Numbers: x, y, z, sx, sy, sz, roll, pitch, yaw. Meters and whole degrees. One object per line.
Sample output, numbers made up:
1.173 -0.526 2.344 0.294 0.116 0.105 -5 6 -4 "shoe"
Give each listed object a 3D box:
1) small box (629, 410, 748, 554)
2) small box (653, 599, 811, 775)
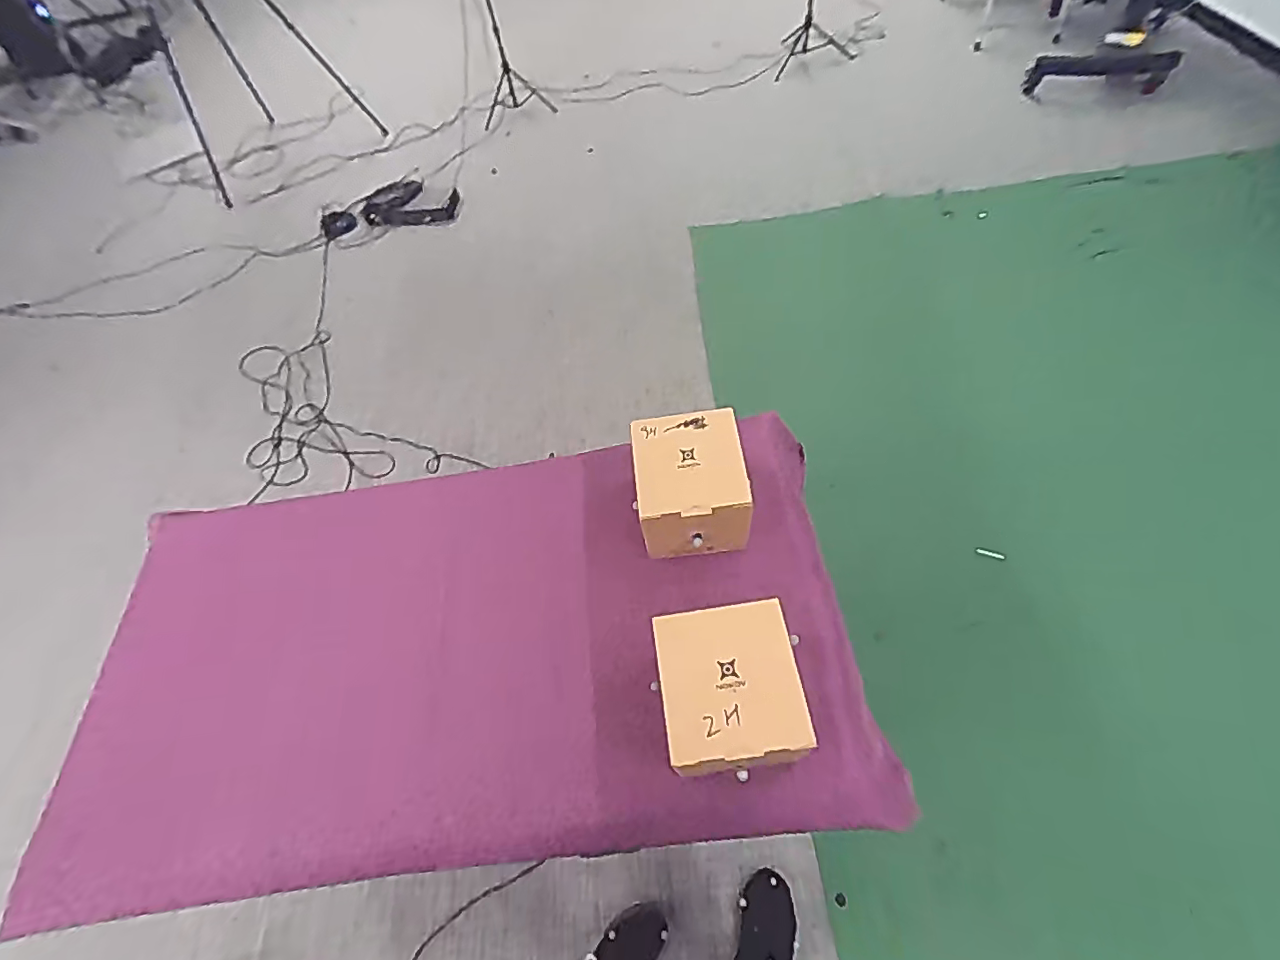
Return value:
0.078 0.013 0.885 0.168 0.176 0.179 -7 61 3 "small box"
0.112 0.278 0.717 0.168 0.176 0.179 -9 57 3 "small box"
